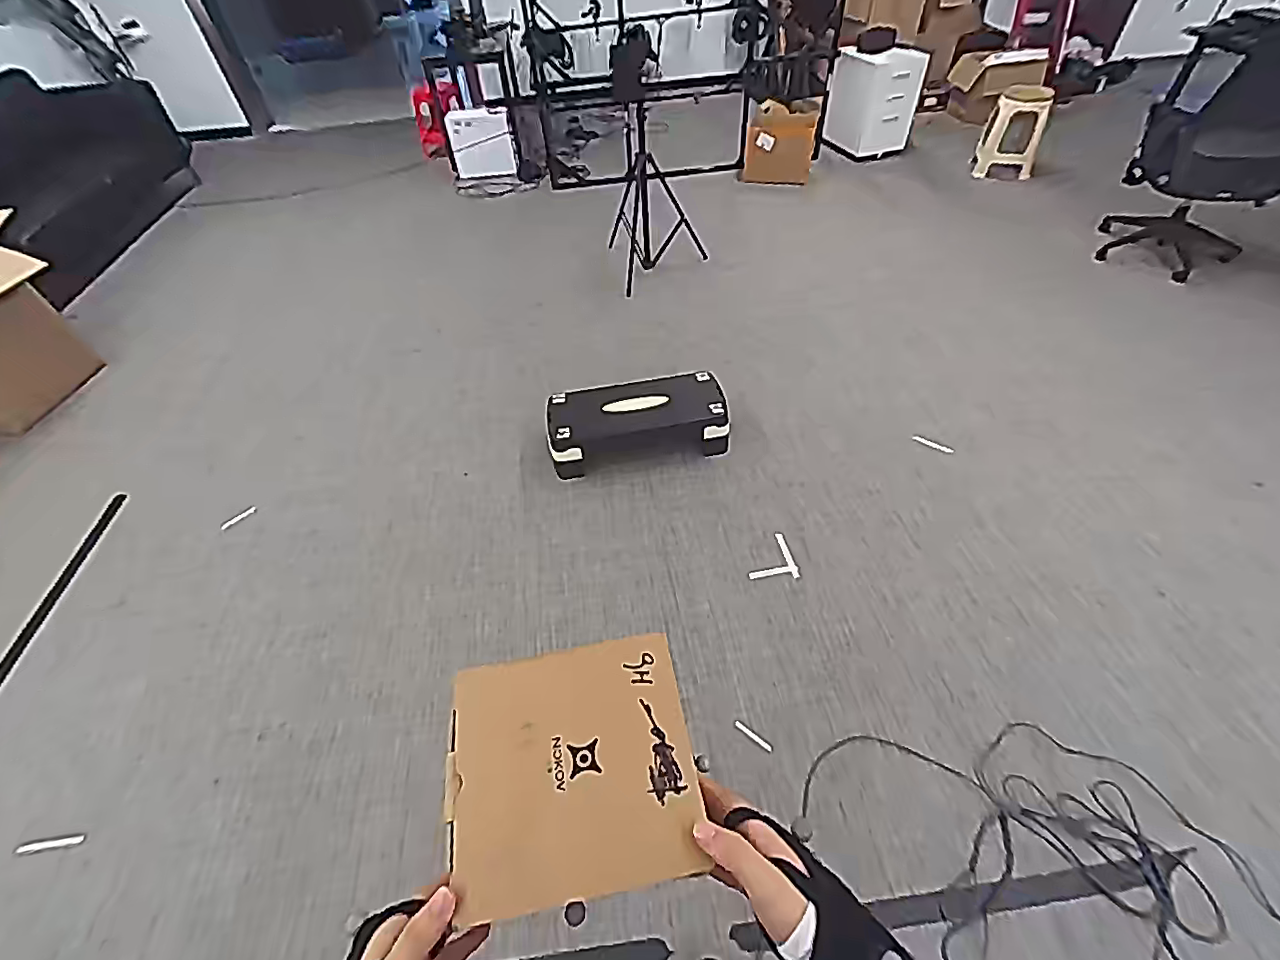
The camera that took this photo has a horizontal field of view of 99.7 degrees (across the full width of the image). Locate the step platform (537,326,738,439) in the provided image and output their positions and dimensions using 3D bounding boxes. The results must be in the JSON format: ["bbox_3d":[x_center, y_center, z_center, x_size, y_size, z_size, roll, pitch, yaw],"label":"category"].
[{"bbox_3d":[-0.009,-0.342,1.914,0.684,0.204,0.286,-9,47,-5],"label":"step platform"}]

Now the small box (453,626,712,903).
[{"bbox_3d":[-0.045,0.248,0.465,0.179,0.176,0.168,-9,53,-5],"label":"small box"}]
